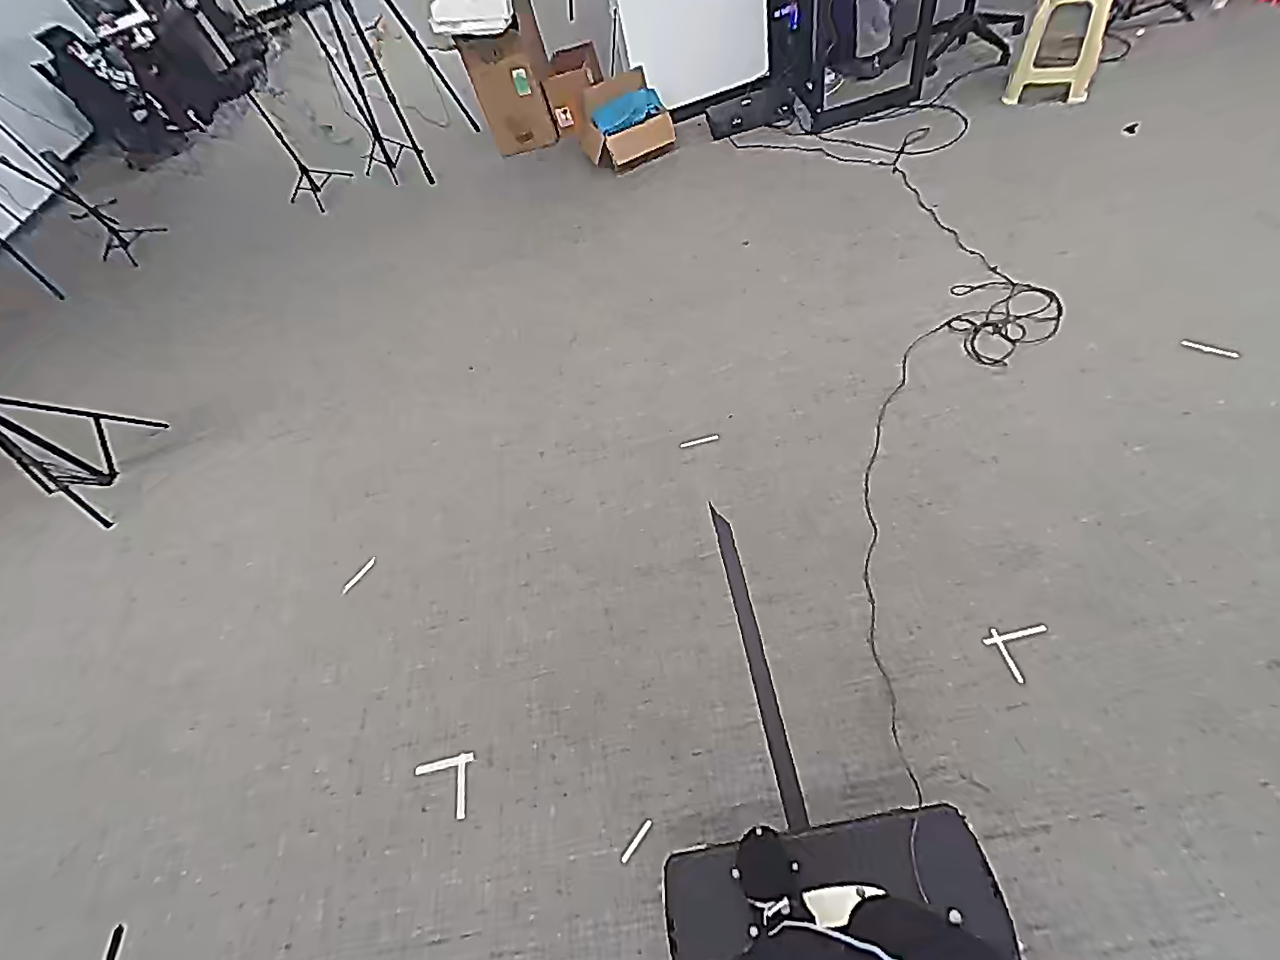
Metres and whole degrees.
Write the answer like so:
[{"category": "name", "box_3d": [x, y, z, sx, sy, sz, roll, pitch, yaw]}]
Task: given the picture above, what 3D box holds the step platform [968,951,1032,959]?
[{"category": "step platform", "box_3d": [0.431, 1.064, 0.935, 0.684, 0.204, 0.286, -16, 52, 6]}]
